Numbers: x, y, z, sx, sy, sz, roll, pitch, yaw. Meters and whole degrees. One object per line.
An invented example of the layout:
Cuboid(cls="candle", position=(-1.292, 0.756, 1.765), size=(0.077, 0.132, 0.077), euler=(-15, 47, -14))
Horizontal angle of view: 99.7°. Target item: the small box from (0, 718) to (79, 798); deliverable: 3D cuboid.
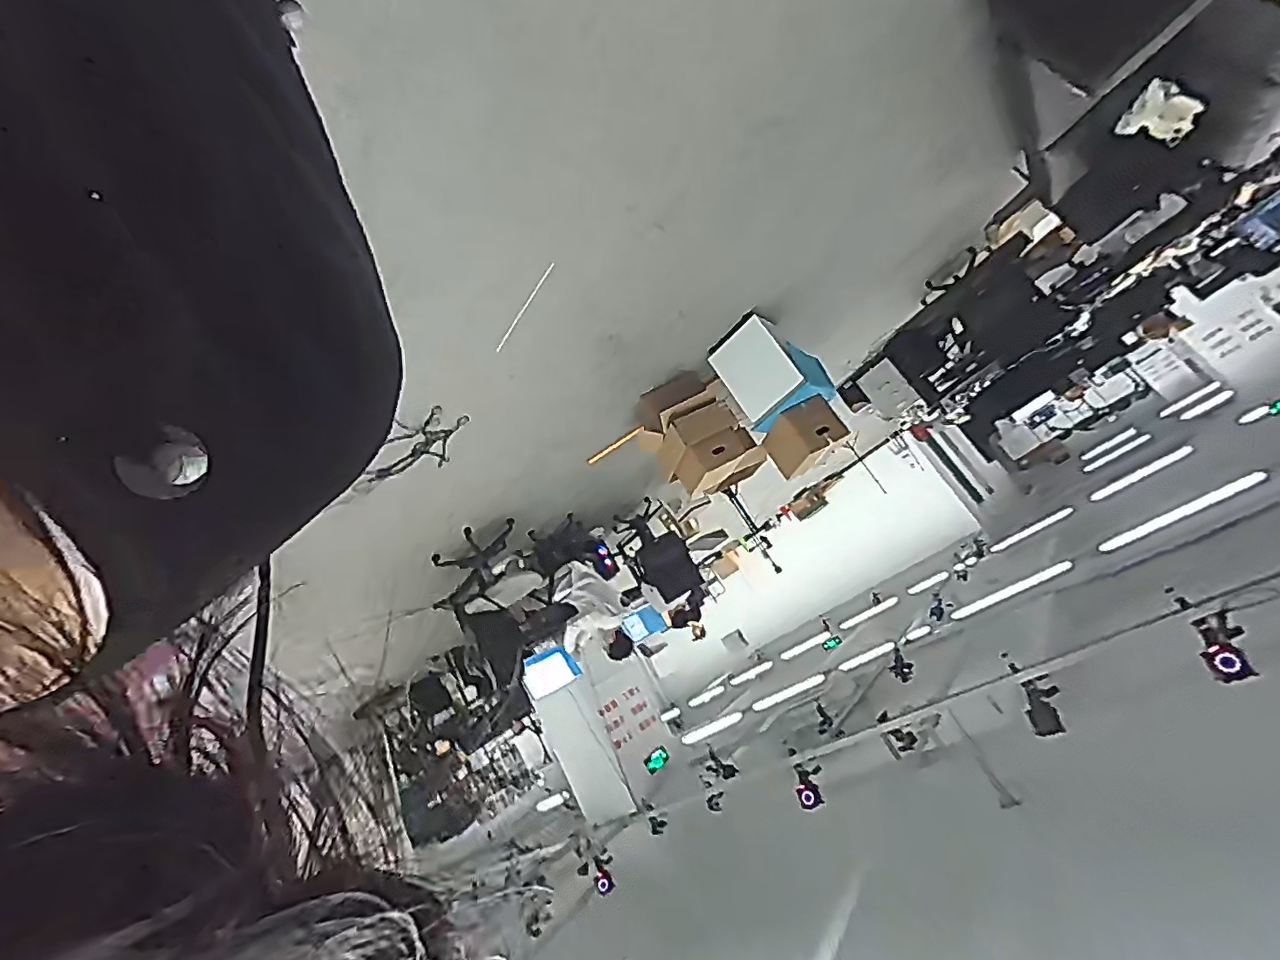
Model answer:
Cuboid(cls="small box", position=(-1.695, 0.787, 1.493), size=(0.179, 0.176, 0.168), euler=(-11, 153, -48))
